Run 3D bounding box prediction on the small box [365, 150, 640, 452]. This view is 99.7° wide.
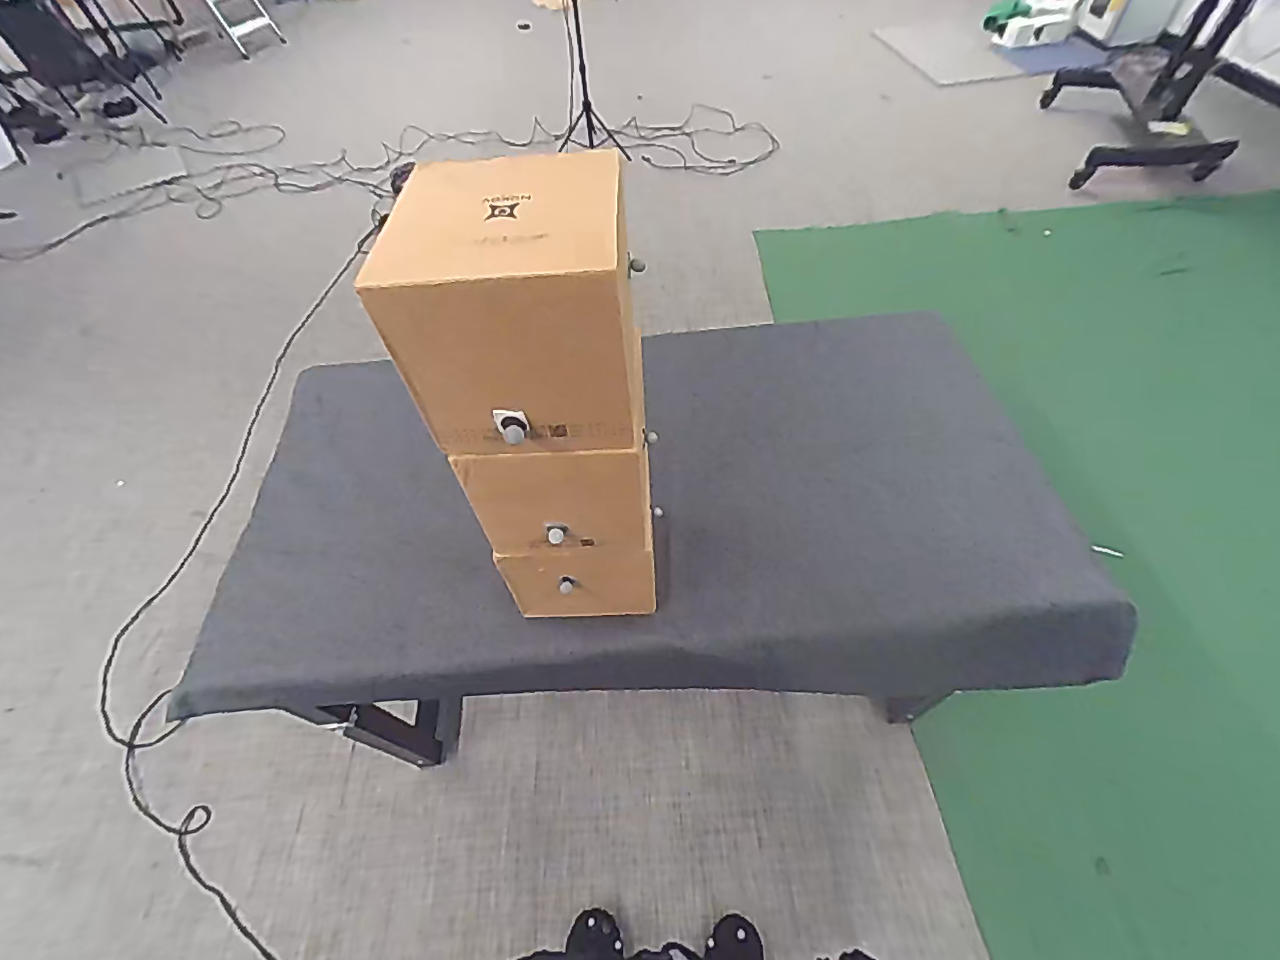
[{"bbox_3d":[-0.088,-0.143,0.448,0.168,0.176,0.179,-3,54,2],"label":"small box"}]

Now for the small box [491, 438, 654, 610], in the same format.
[{"bbox_3d":[-0.073,0.060,0.702,0.179,0.176,0.168,-2,53,2],"label":"small box"}]

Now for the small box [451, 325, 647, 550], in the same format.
[{"bbox_3d":[-0.078,-0.044,0.574,0.168,0.176,0.179,-1,54,2],"label":"small box"}]
